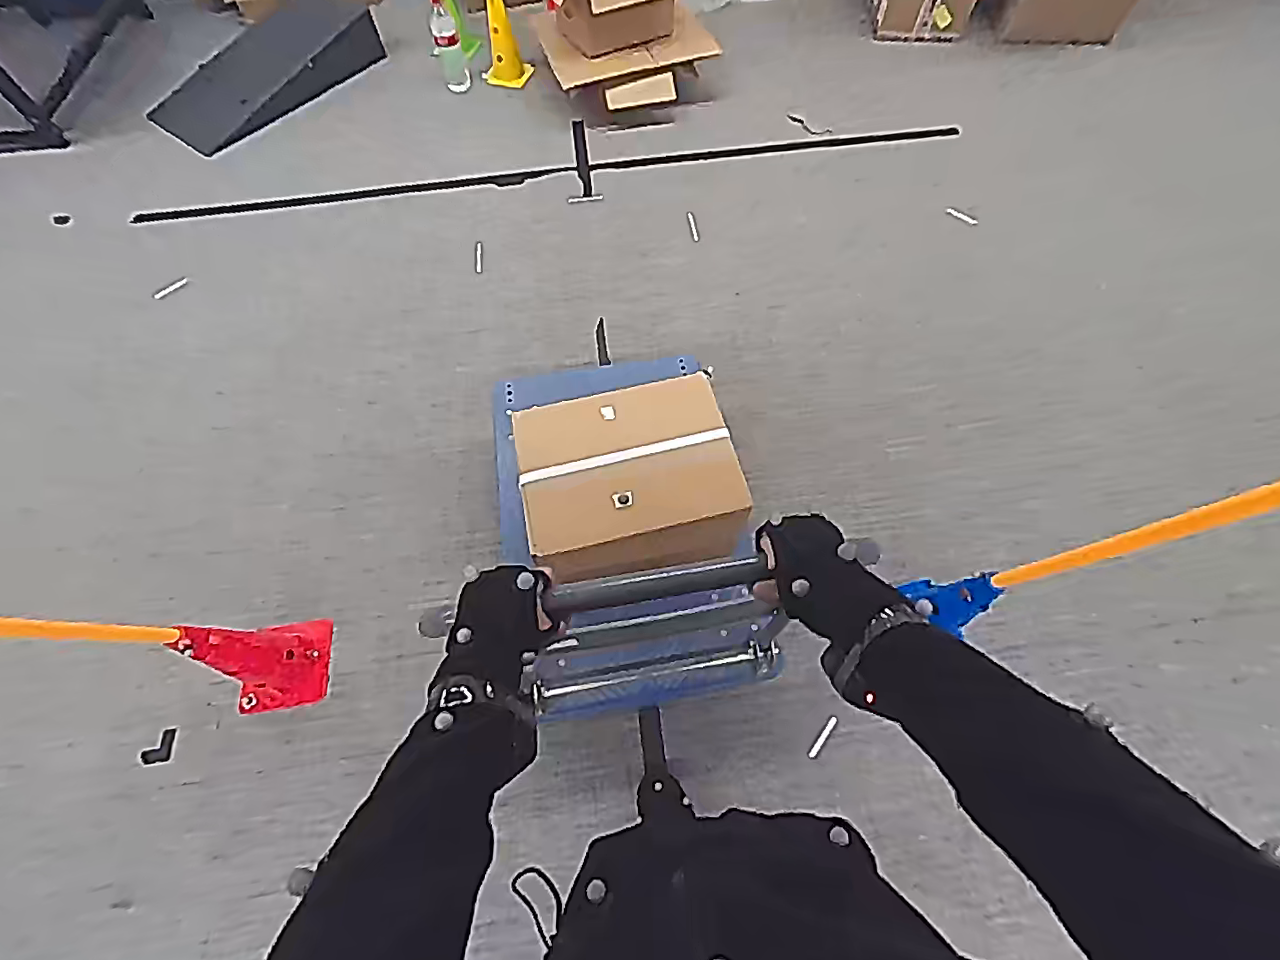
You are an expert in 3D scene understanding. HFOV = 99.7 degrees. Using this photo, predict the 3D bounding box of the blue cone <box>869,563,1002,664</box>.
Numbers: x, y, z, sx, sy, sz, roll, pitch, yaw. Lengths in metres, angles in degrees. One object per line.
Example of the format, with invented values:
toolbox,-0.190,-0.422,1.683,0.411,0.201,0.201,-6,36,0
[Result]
blue cone,0.684,0.273,1.196,0.193,0.380,0.192,-11,62,-5
